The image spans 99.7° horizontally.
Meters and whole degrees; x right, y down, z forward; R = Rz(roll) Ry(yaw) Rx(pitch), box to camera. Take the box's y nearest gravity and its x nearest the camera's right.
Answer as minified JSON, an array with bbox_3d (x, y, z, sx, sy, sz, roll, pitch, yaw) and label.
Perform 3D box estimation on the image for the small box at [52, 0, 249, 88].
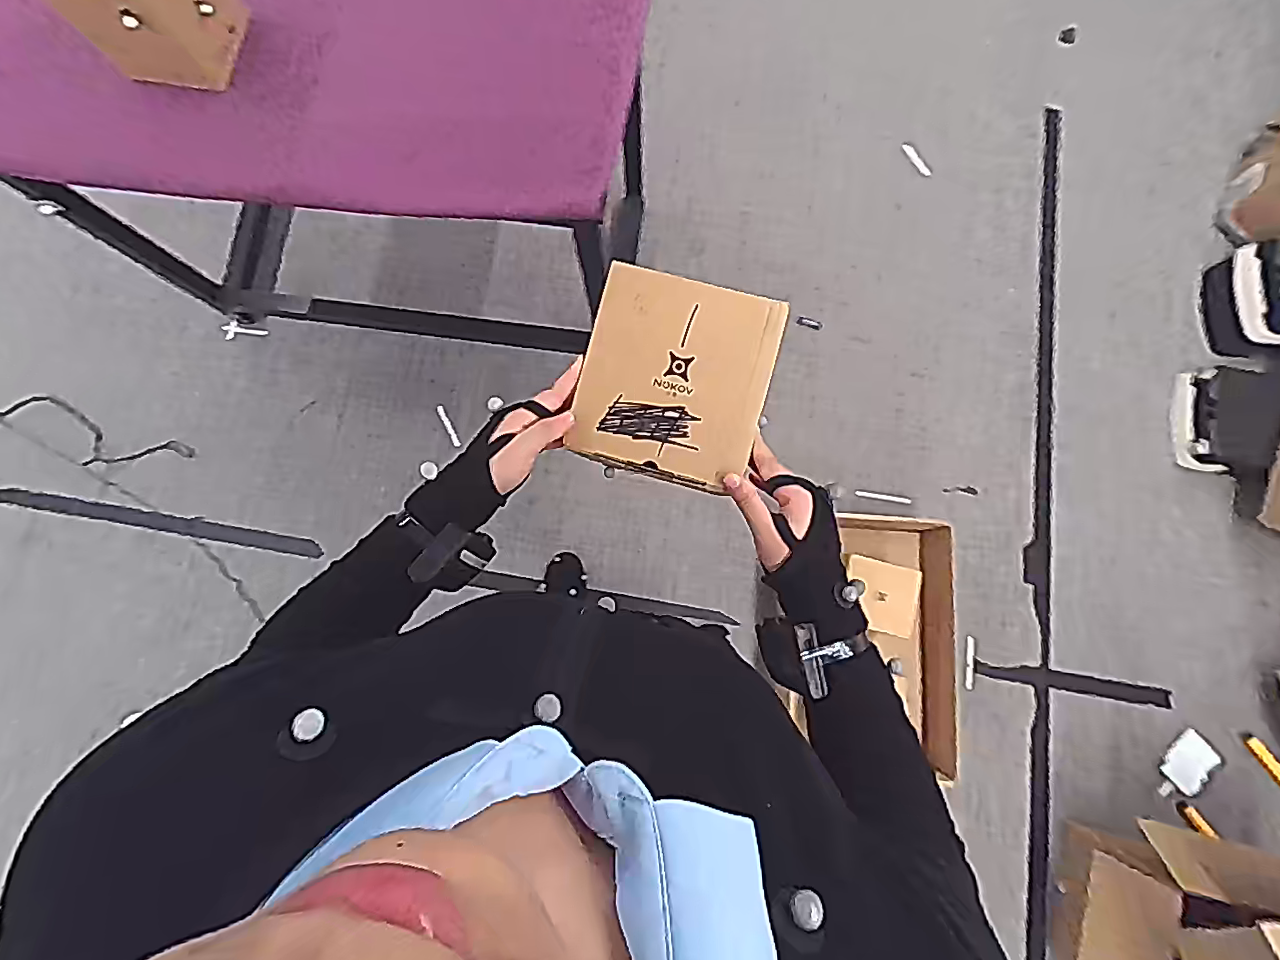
[{"bbox_3d":[-0.775,-0.768,0.859,0.179,0.176,0.168,9,80,2],"label":"small box"}]

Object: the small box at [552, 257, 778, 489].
[{"bbox_3d":[0.026,-0.092,0.555,0.168,0.176,0.179,15,88,3],"label":"small box"}]

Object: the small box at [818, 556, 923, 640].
[{"bbox_3d":[0.572,0.288,1.360,0.179,0.176,0.168,14,83,3],"label":"small box"}]
